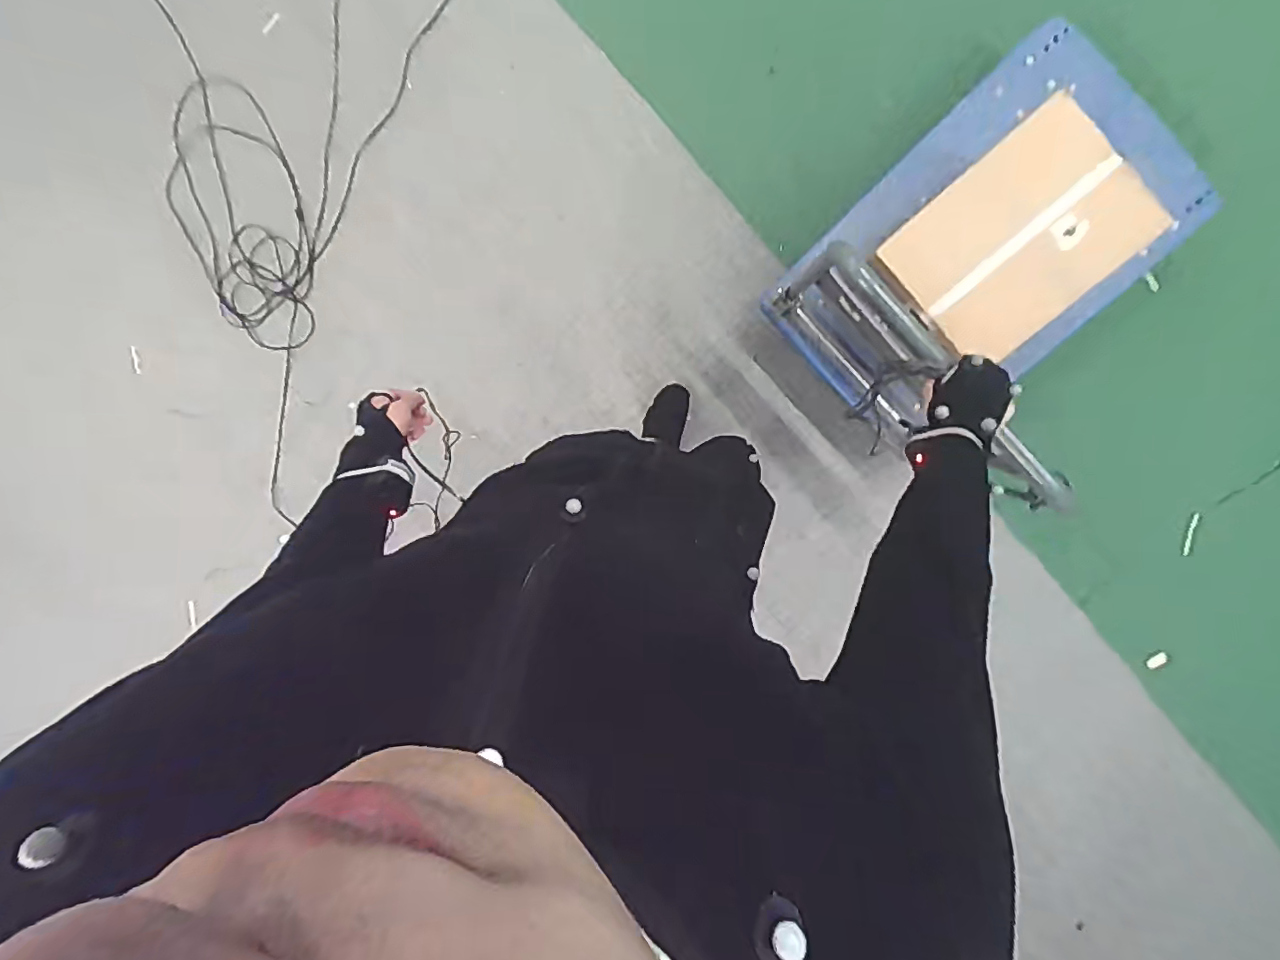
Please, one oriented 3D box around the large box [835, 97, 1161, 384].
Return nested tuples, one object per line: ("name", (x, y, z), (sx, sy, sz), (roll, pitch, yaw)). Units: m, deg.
("large box", (0.696, -0.451, 1.131), (0.408, 0.320, 0.320), (-40, 94, 9))
